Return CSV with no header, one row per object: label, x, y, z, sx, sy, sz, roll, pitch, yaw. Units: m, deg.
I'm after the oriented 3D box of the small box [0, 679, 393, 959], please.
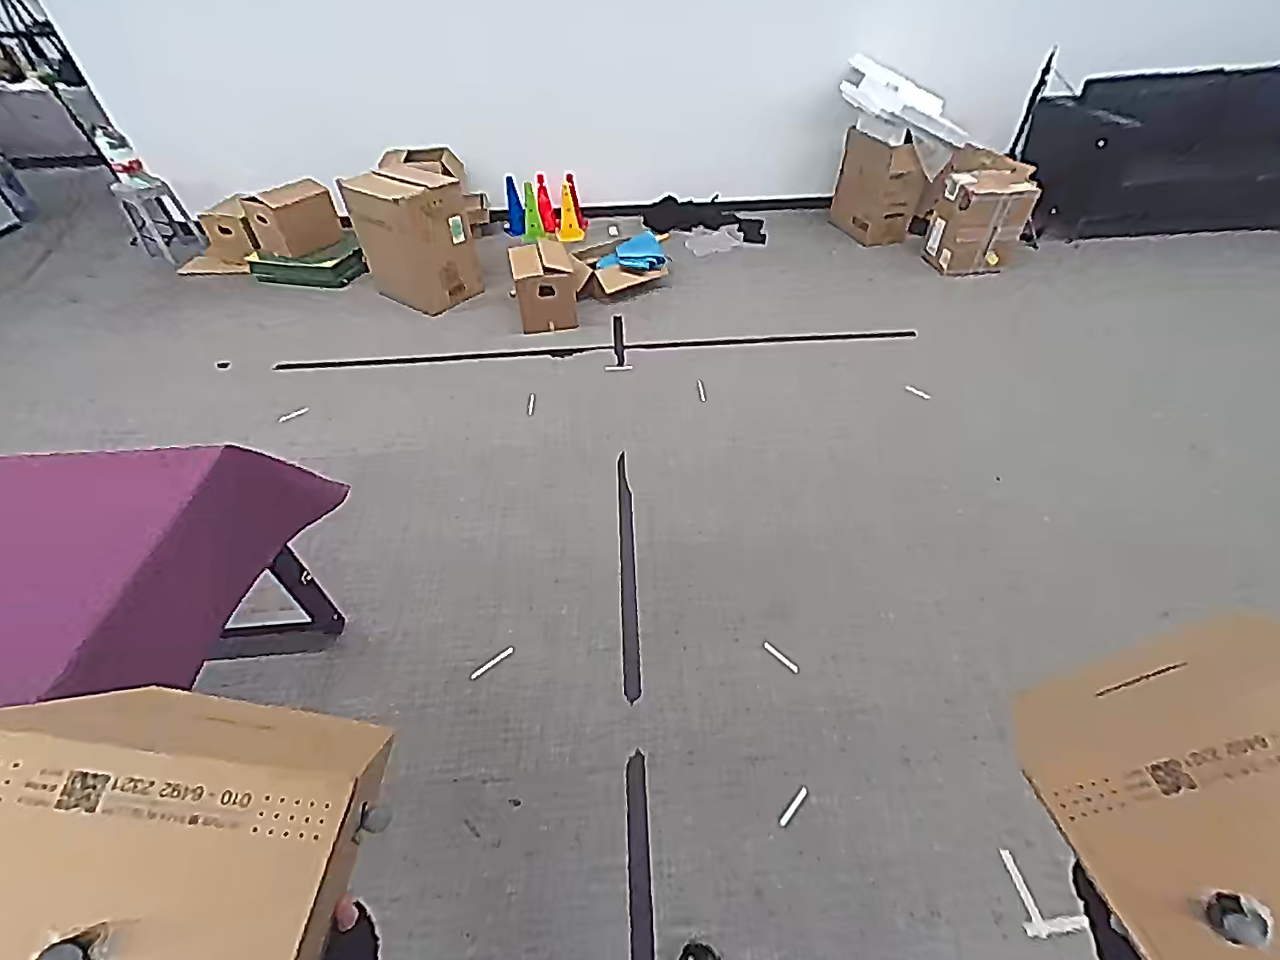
small box,-0.248,0.205,0.282,0.168,0.179,0.176,17,69,-12
